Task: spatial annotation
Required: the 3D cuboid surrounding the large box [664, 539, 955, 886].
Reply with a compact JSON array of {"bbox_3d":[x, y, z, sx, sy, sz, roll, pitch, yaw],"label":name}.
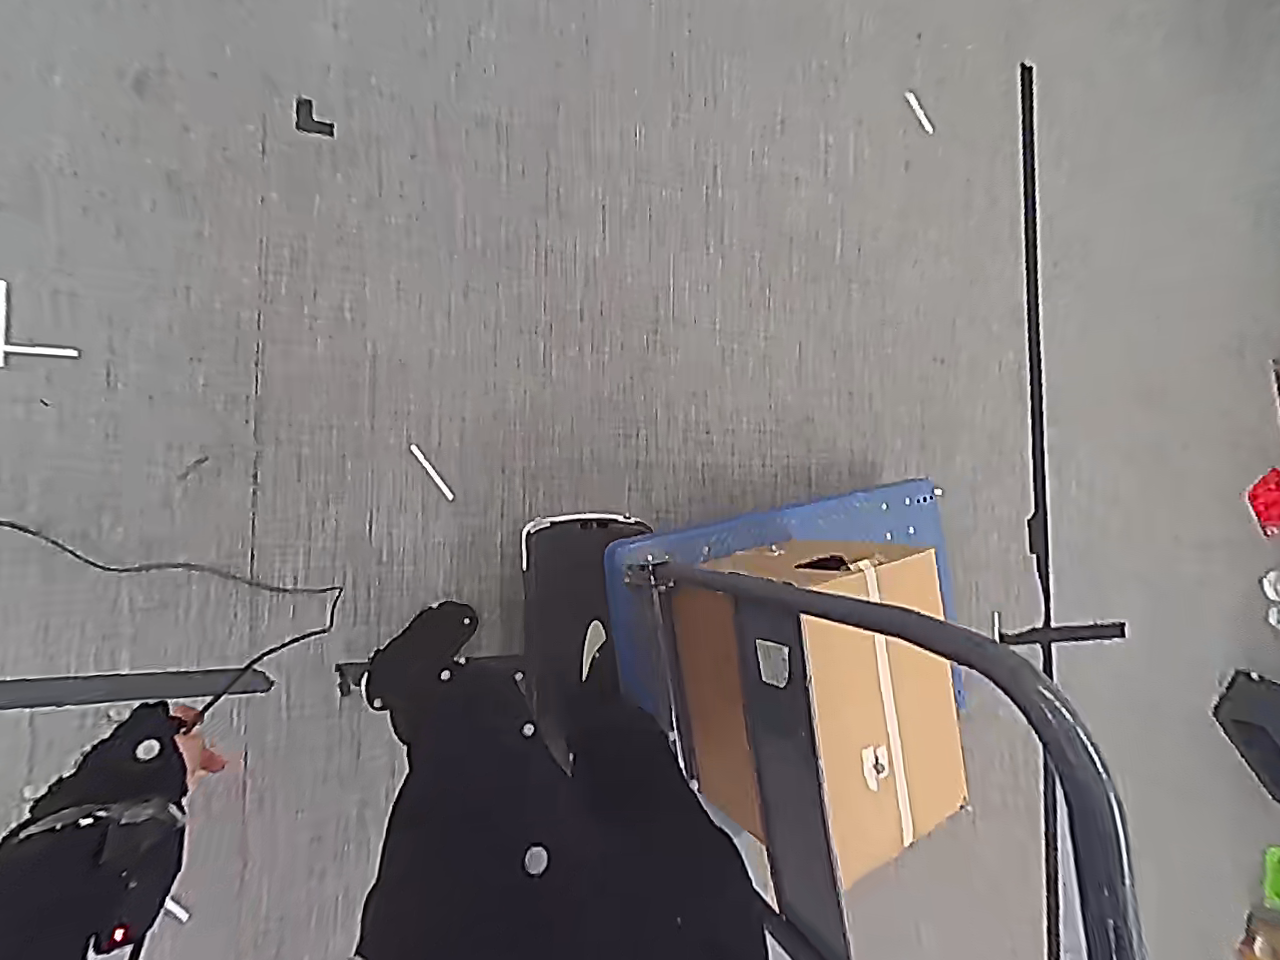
[{"bbox_3d":[0.269,0.329,0.910,0.320,0.320,0.408,-9,91,-28],"label":"large box"}]
